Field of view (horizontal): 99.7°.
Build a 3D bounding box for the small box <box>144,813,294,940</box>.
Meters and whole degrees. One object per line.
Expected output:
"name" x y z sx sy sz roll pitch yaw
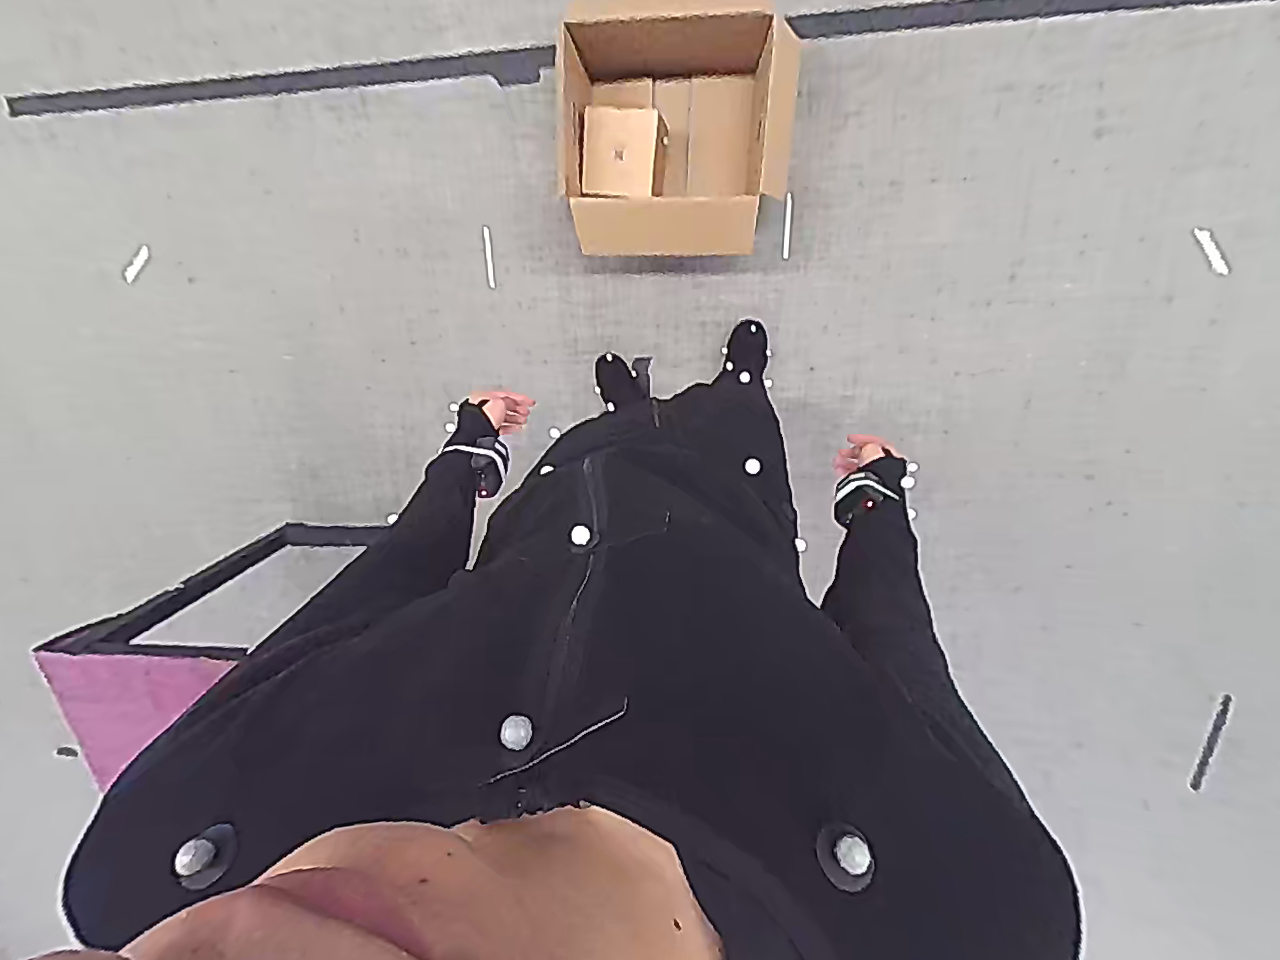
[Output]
"small box" -0.927 0.877 1.208 0.179 0.176 0.168 -5 109 7
